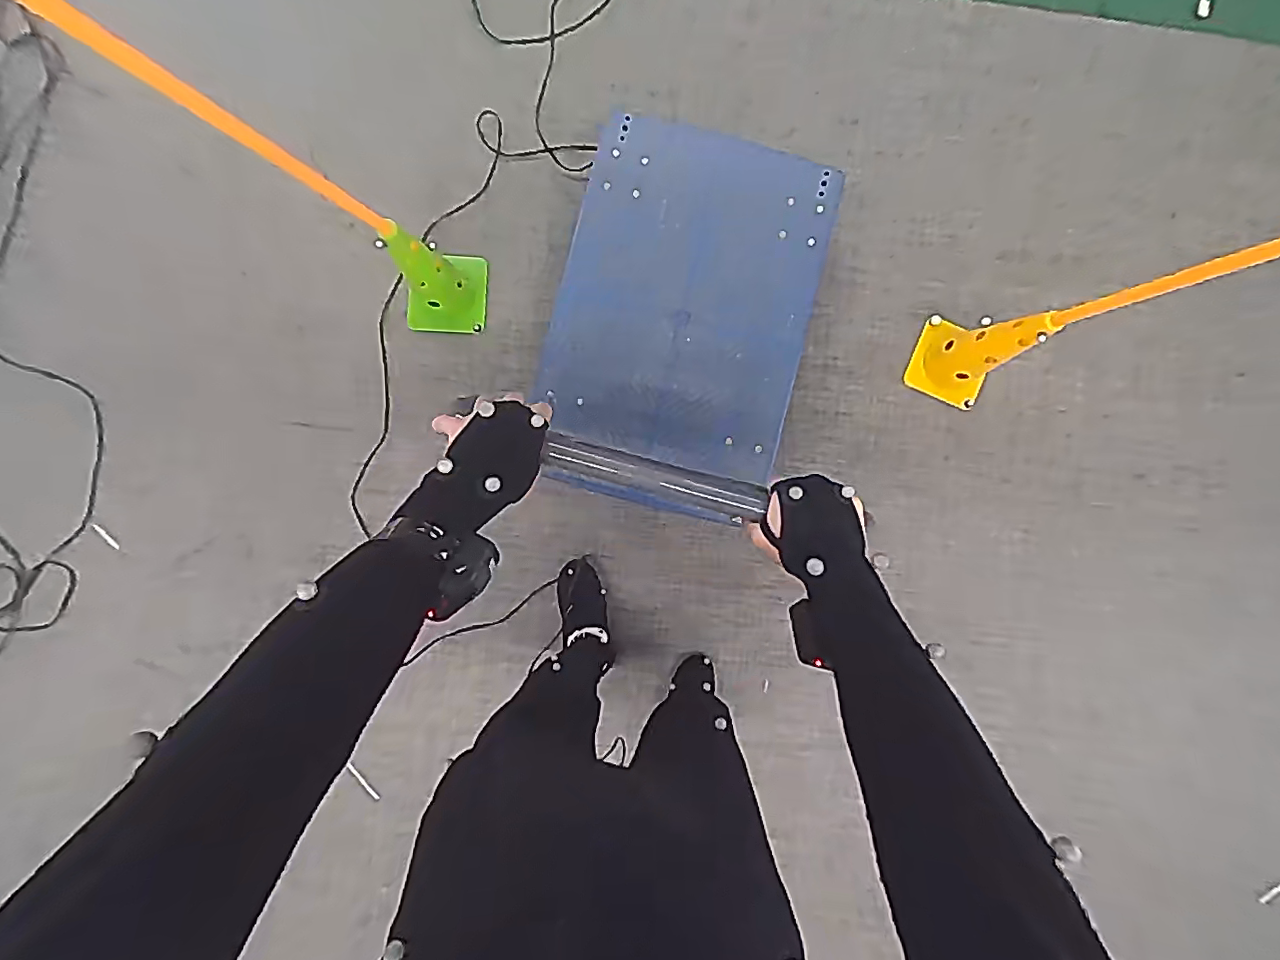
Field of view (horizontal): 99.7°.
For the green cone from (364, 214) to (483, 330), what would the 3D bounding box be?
[{"bbox_3d":[-0.503,-0.490,1.212,0.202,0.368,0.200,2,88,0],"label":"green cone"}]
